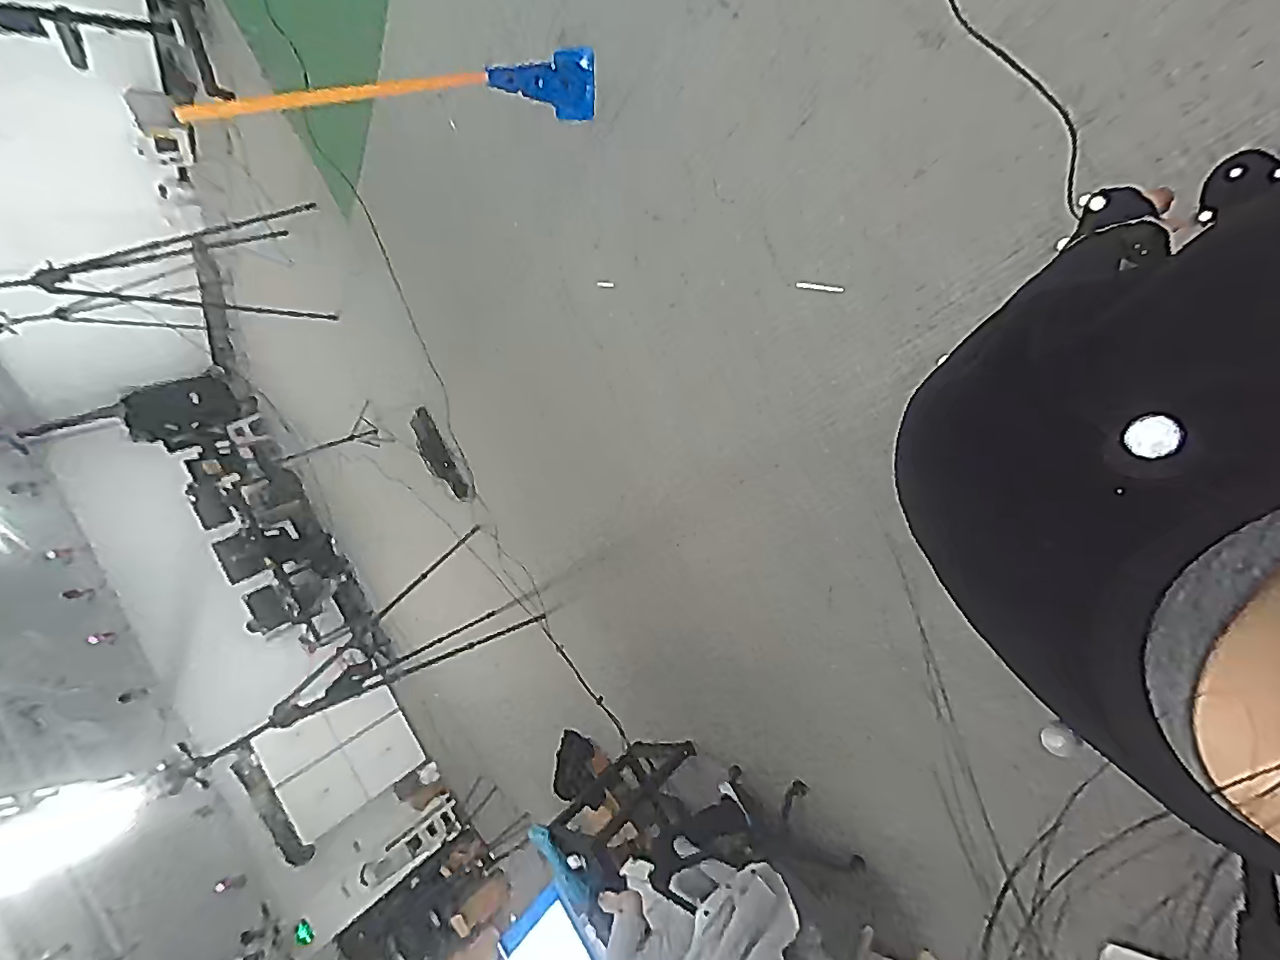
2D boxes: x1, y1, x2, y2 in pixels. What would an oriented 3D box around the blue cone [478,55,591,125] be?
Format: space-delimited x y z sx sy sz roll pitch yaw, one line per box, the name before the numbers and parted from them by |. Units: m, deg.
blue cone | -0.345 -1.263 1.742 0.192 0.380 0.193 26 131 35
